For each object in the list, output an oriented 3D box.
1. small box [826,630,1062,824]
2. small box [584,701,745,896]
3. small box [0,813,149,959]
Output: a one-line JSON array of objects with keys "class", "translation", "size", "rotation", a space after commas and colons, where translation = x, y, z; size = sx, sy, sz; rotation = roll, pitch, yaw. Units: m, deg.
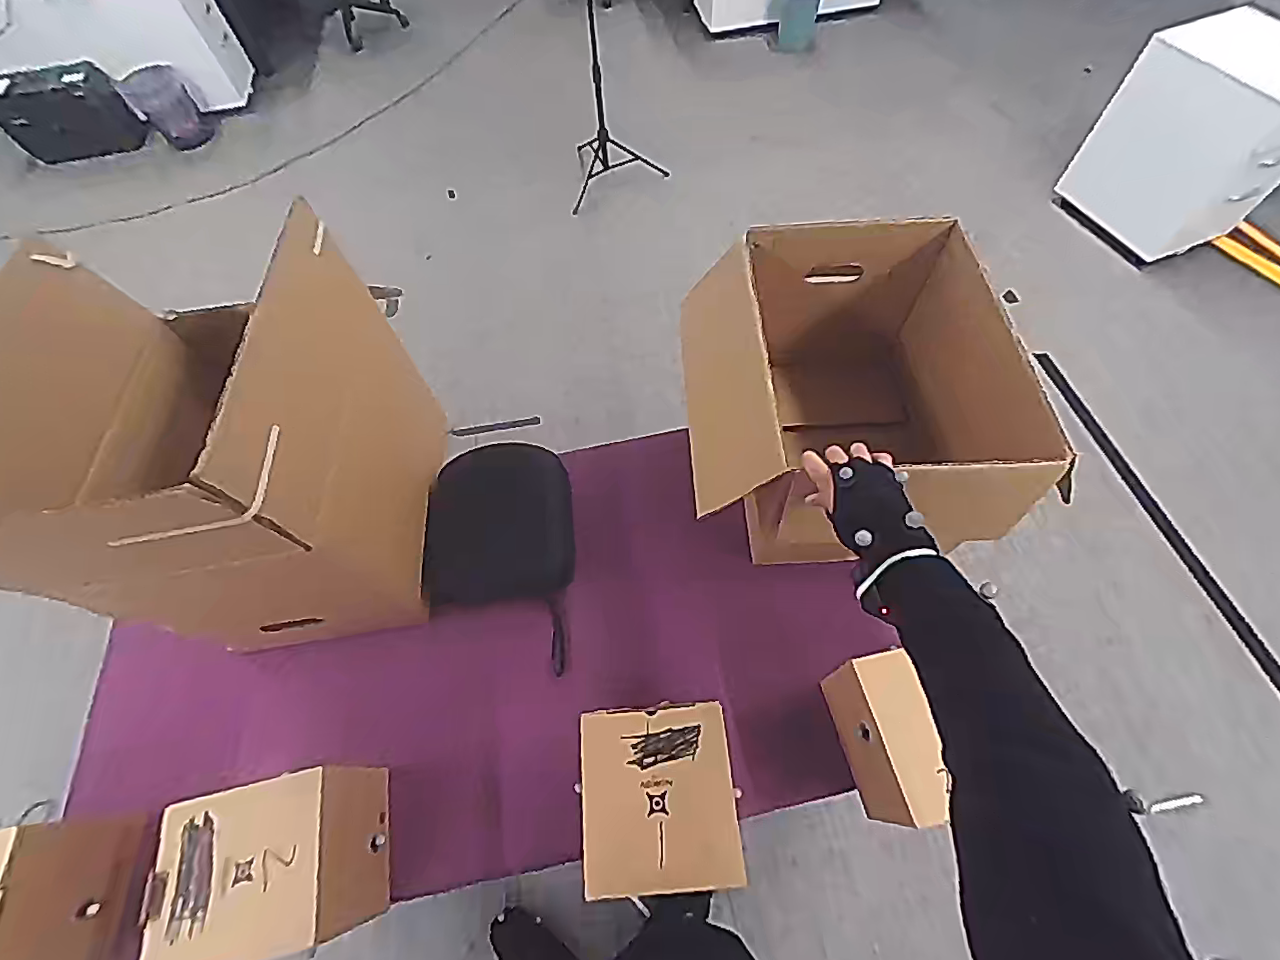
[{"class": "small box", "translation": [0.350, 0.305, 0.669], "size": [0.168, 0.176, 0.179], "rotation": [-12, 61, -1]}, {"class": "small box", "translation": [0.024, 0.374, 0.654], "size": [0.168, 0.176, 0.179], "rotation": [-5, 63, 1]}, {"class": "small box", "translation": [-0.750, 0.501, 0.632], "size": [0.179, 0.176, 0.168], "rotation": [-9, 61, -3]}]
